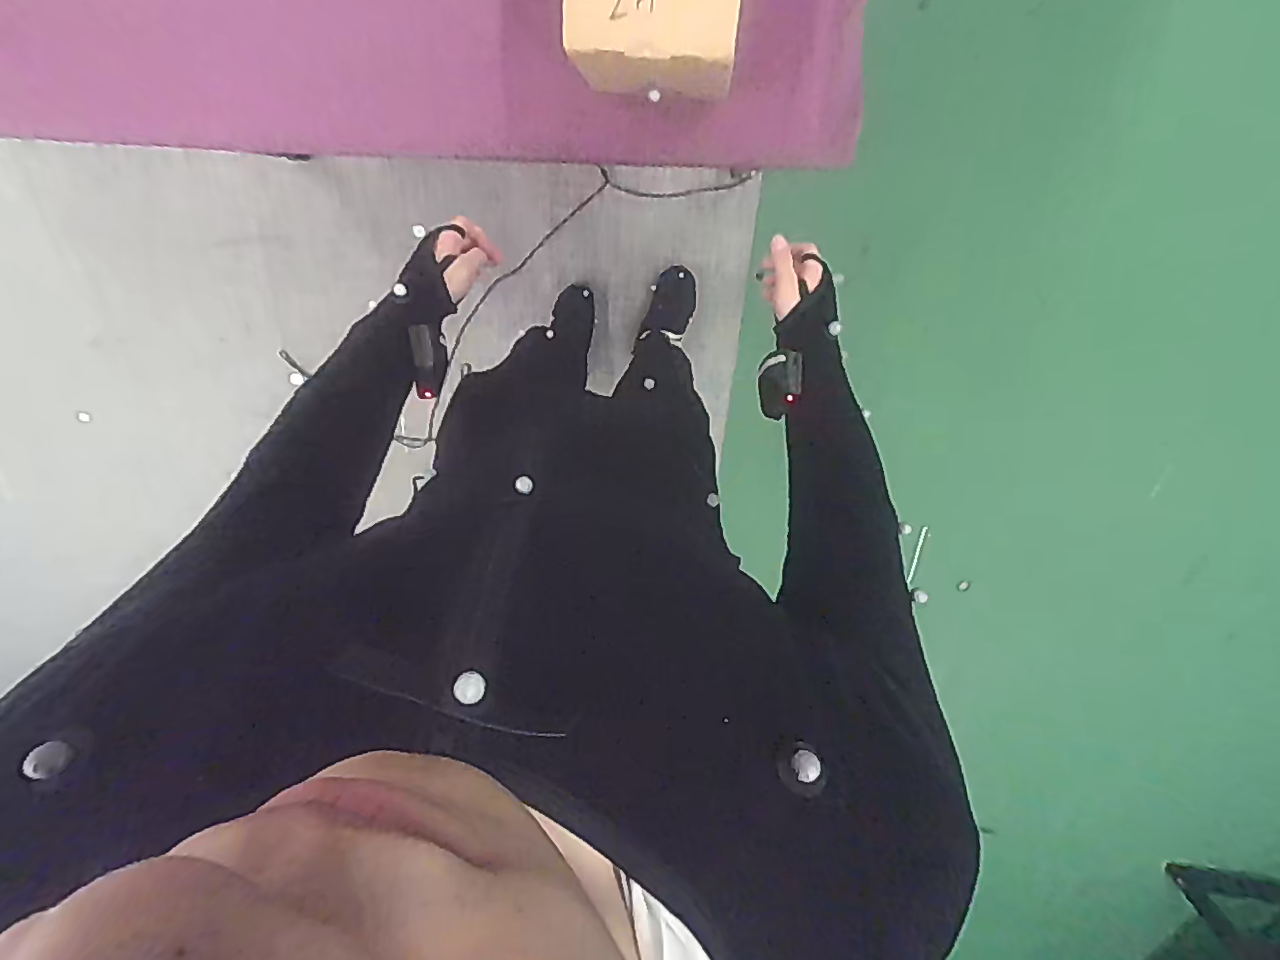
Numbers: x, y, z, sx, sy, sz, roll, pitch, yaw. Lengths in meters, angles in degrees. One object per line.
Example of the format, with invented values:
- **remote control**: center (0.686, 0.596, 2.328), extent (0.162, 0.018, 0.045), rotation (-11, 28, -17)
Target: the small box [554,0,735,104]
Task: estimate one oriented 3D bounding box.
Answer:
- **small box**: center (0.014, -0.507, 0.545), extent (0.168, 0.176, 0.179), rotation (7, 115, 4)
